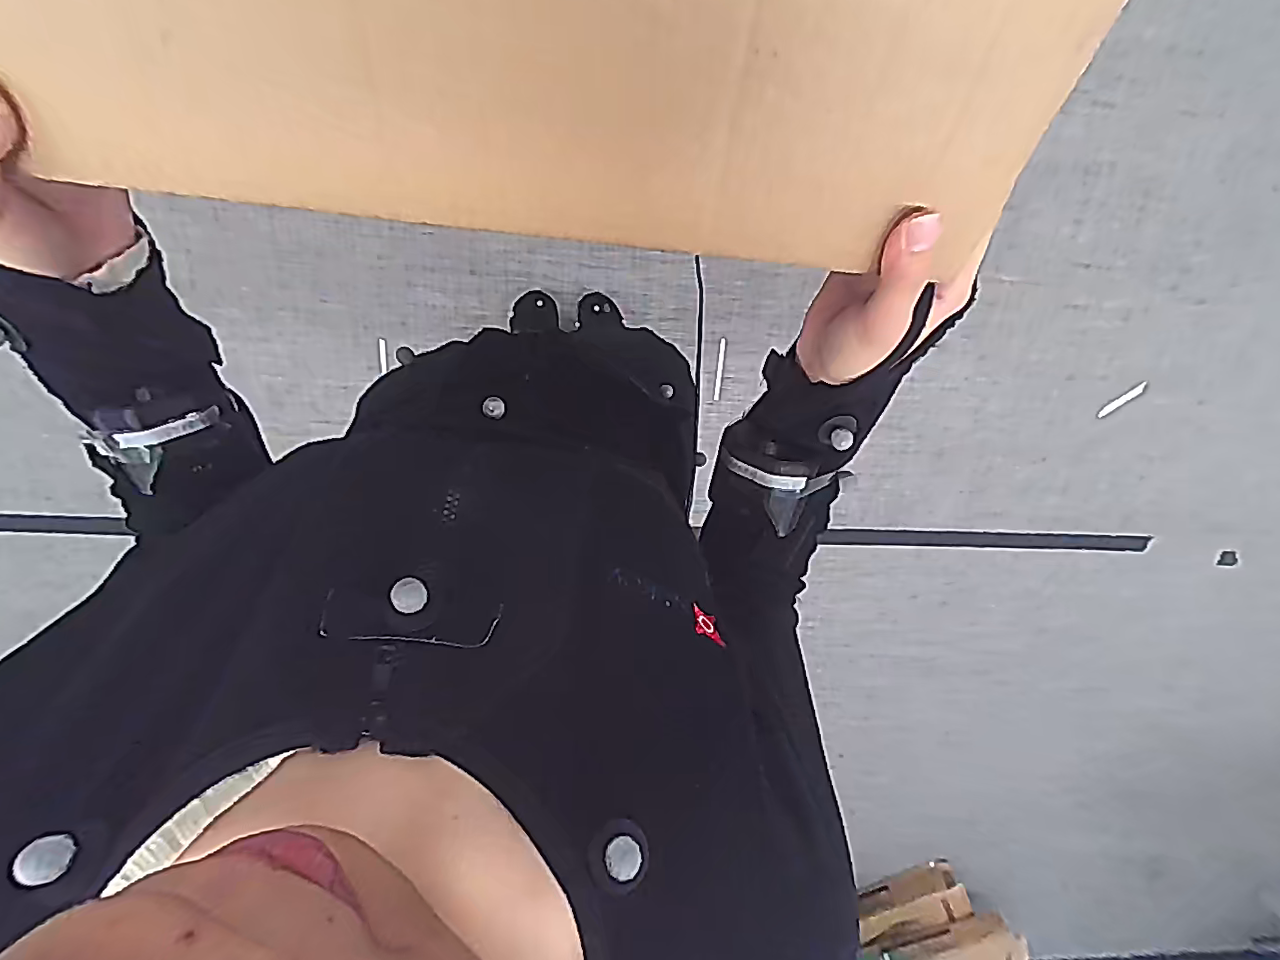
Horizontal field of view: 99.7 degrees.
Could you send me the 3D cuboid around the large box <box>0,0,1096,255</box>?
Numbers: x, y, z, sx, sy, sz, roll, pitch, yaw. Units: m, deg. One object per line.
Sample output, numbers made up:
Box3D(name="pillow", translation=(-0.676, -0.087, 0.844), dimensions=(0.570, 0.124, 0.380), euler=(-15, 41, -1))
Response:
Box3D(name="large box", translation=(-0.042, -0.324, 0.219), dimensions=(0.408, 0.320, 0.320), euler=(3, 139, -6))
